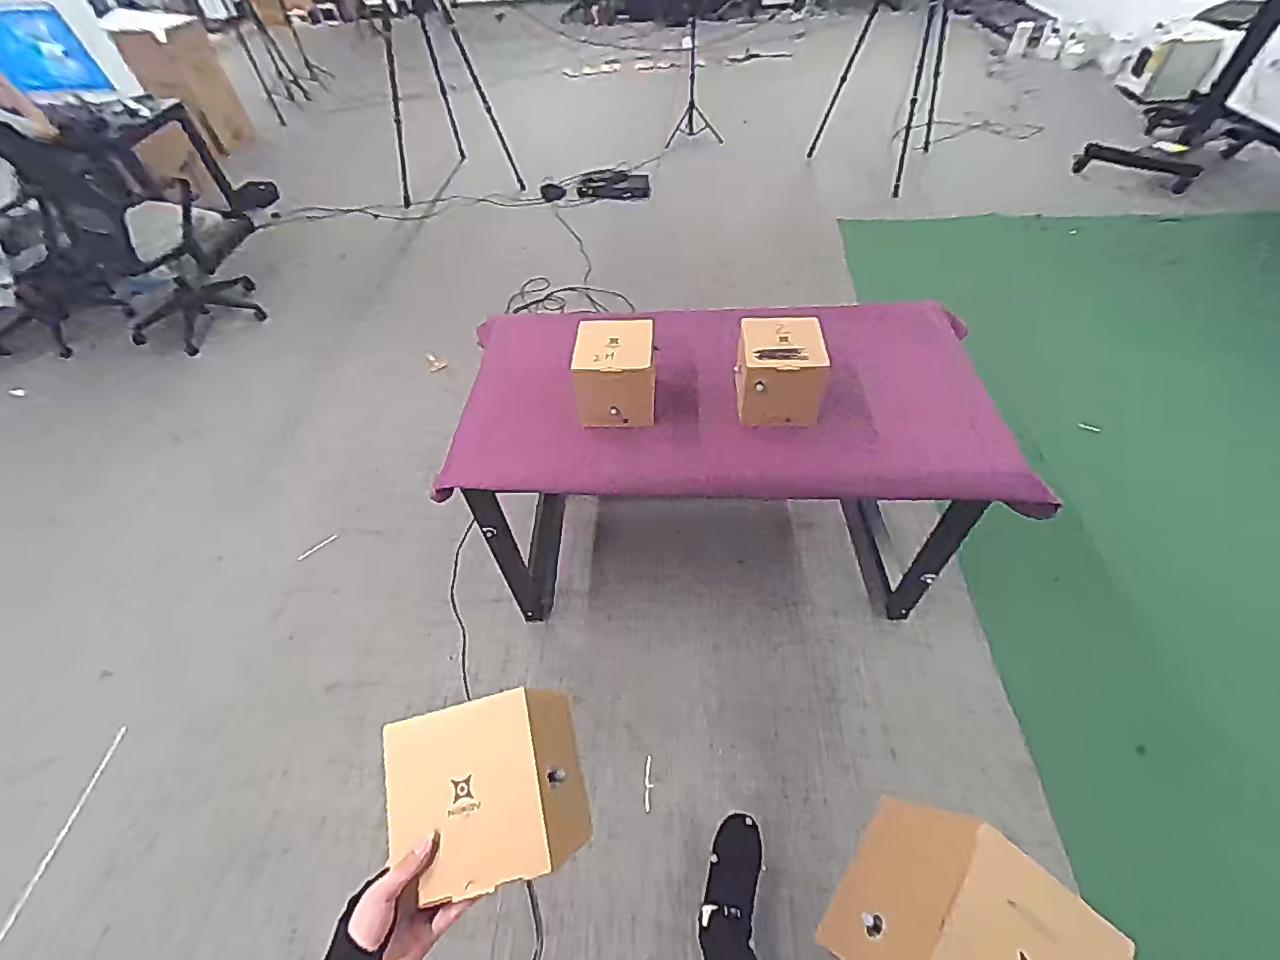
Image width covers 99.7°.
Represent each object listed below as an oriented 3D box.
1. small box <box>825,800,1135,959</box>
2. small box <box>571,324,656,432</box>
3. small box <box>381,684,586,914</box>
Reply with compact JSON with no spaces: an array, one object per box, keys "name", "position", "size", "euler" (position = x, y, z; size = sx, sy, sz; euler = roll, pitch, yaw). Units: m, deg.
[{"name":"small box","position":[0.311,0.454,0.529],"size":[0.168,0.176,0.179],"euler":[40,66,7]},{"name":"small box","position":[-0.051,-0.229,1.210],"size":[0.168,0.176,0.179],"euler":[1,50,4]},{"name":"small box","position":[-0.171,0.346,0.618],"size":[0.168,0.176,0.179],"euler":[-16,67,1]}]
